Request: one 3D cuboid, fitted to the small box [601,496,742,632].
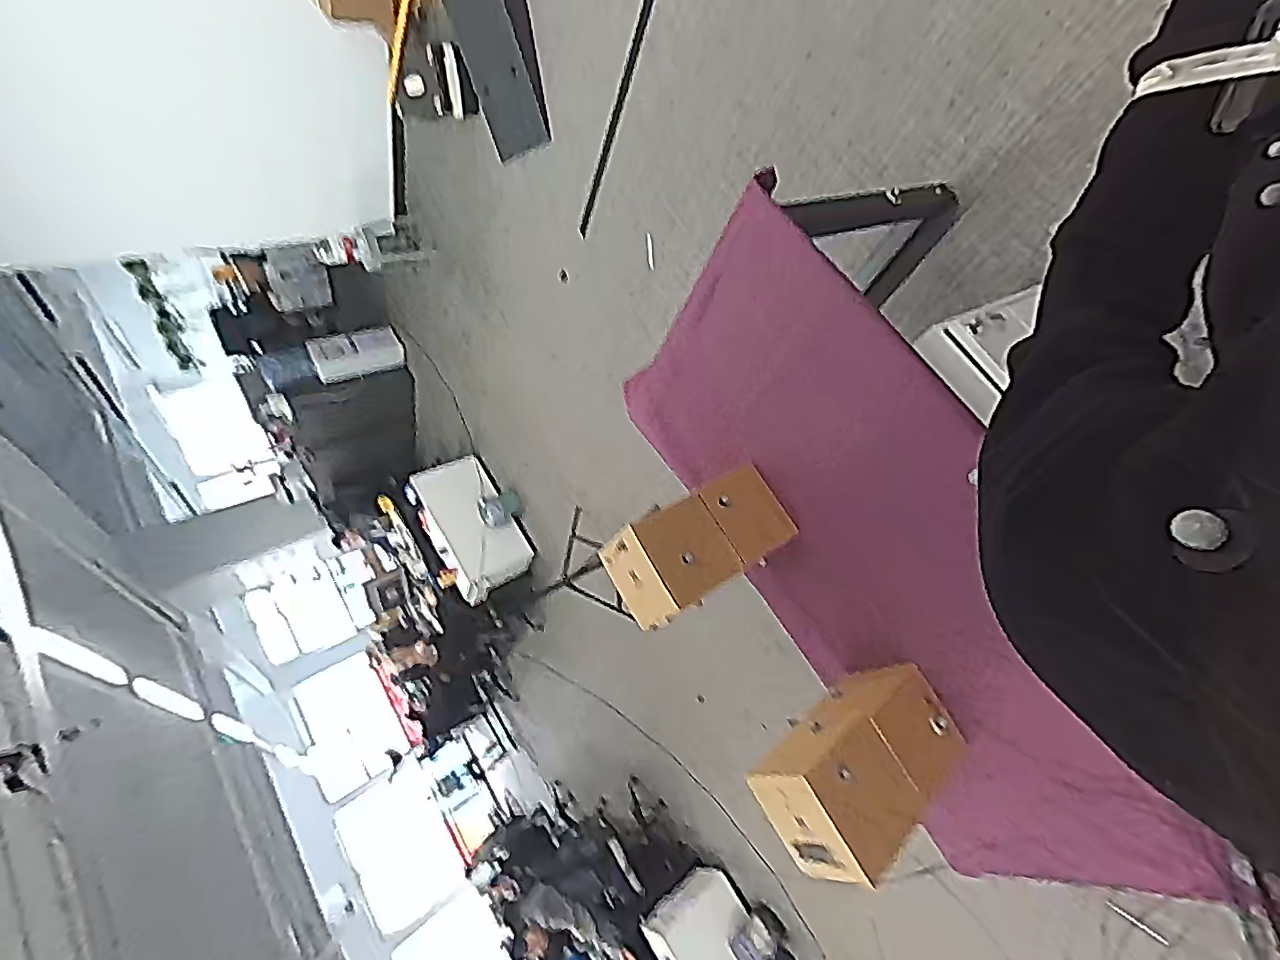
[{"bbox_3d":[0.060,0.158,1.028,0.179,0.176,0.168,58,146,11],"label":"small box"}]

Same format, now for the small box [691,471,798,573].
[{"bbox_3d":[0.186,0.099,1.116,0.179,0.176,0.168,57,146,12],"label":"small box"}]

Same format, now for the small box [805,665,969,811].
[{"bbox_3d":[0.445,0.460,0.979,0.168,0.176,0.179,58,145,10],"label":"small box"}]
